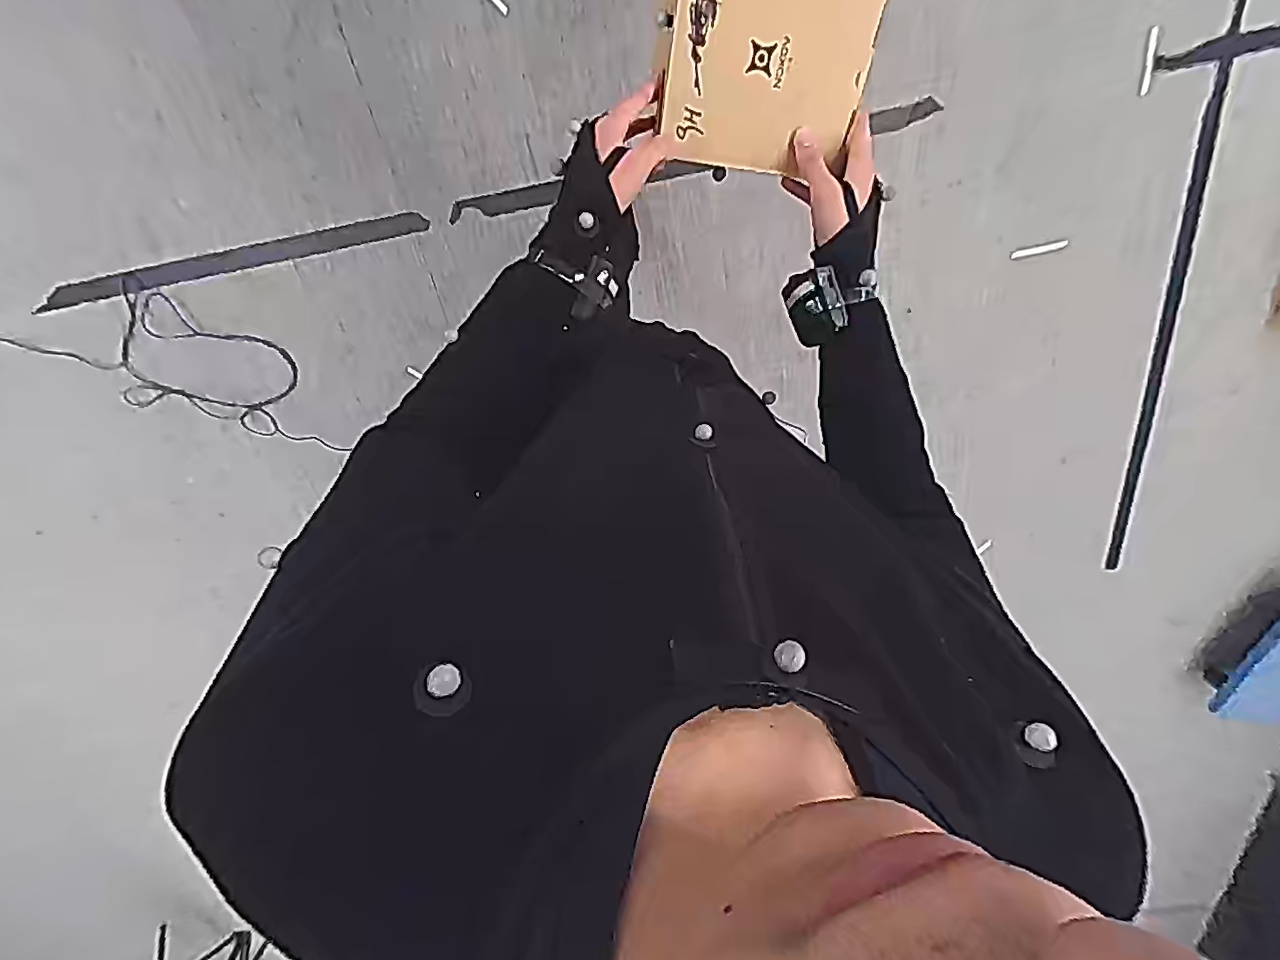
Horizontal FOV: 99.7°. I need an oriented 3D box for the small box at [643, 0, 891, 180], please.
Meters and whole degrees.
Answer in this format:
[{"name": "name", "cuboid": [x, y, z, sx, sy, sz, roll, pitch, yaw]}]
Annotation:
[{"name": "small box", "cuboid": [0.106, -0.404, 0.522, 0.179, 0.176, 0.168, 4, 123, -9]}]
